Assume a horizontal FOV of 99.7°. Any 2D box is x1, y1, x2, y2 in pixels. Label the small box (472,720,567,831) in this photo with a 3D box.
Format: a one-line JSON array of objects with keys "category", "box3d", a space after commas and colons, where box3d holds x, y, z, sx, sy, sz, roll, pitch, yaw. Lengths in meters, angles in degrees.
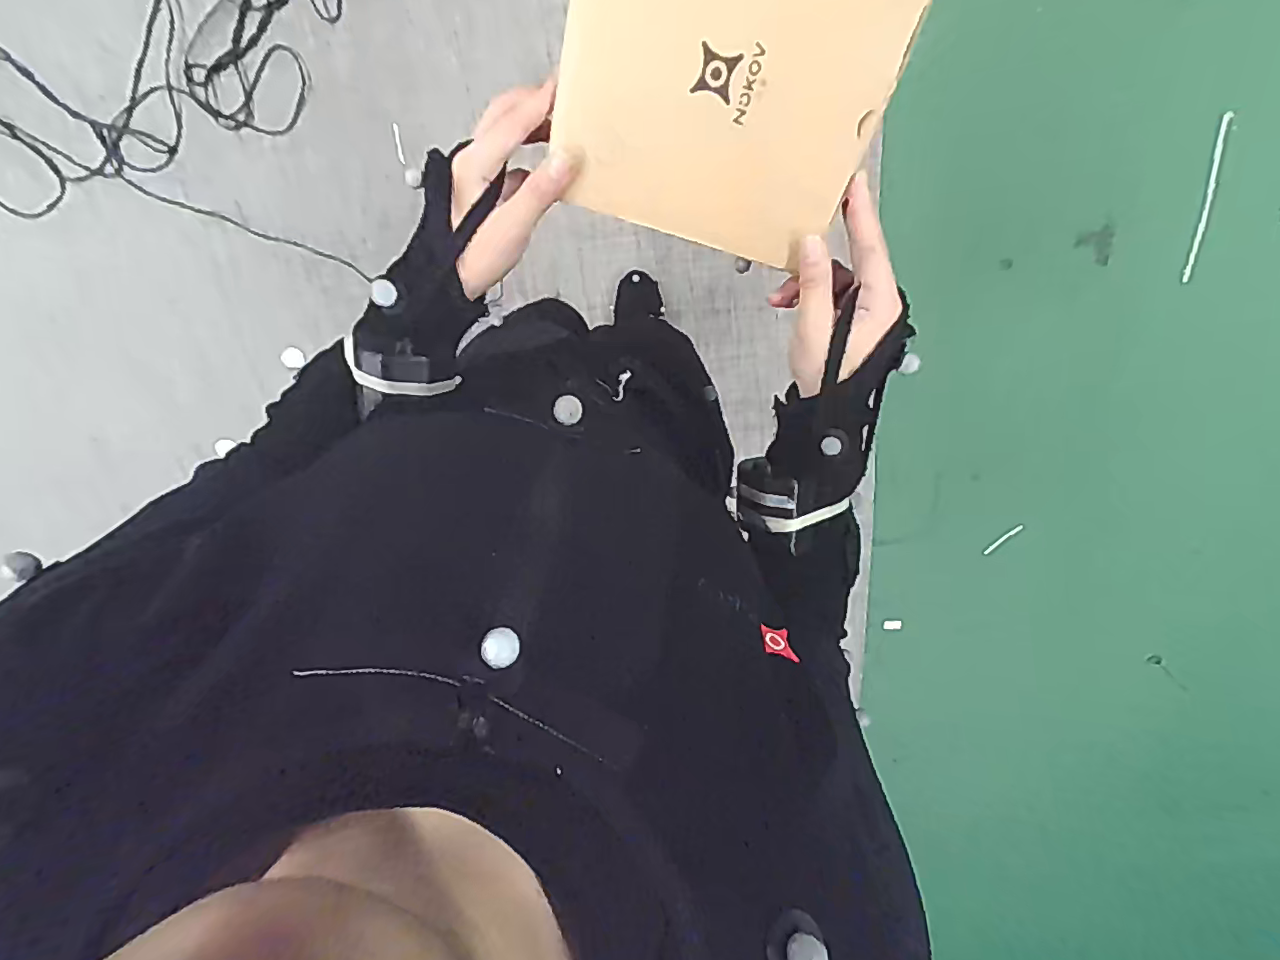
[{"category": "small box", "box3d": [-0.275, 0.687, 1.270, 0.179, 0.176, 0.168, 0, 114, 1]}]
